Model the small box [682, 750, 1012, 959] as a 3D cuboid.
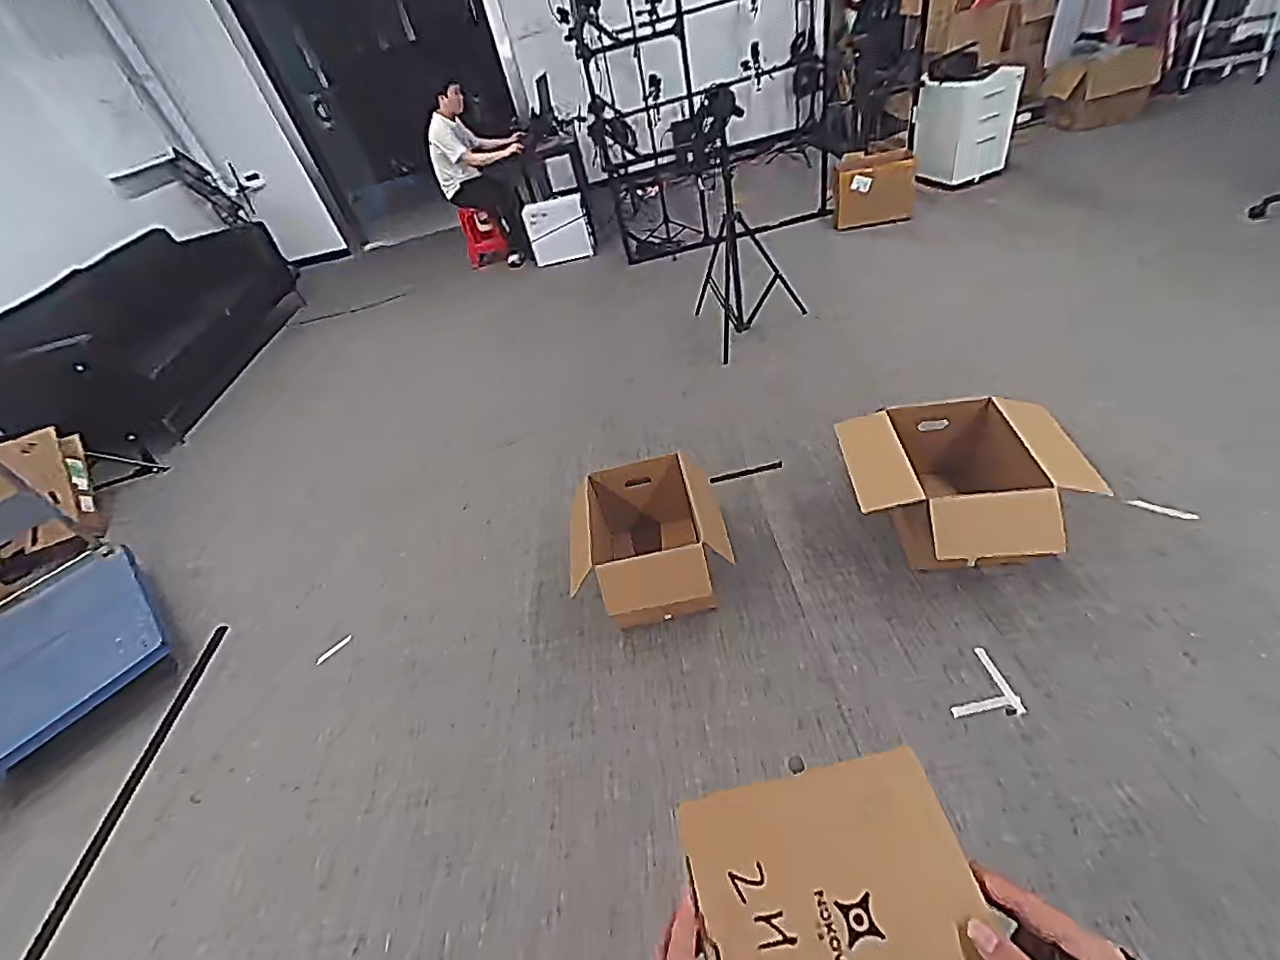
[{"bbox_3d":[0.133,0.318,0.399,0.179,0.176,0.168,-12,53,-2],"label":"small box"}]
